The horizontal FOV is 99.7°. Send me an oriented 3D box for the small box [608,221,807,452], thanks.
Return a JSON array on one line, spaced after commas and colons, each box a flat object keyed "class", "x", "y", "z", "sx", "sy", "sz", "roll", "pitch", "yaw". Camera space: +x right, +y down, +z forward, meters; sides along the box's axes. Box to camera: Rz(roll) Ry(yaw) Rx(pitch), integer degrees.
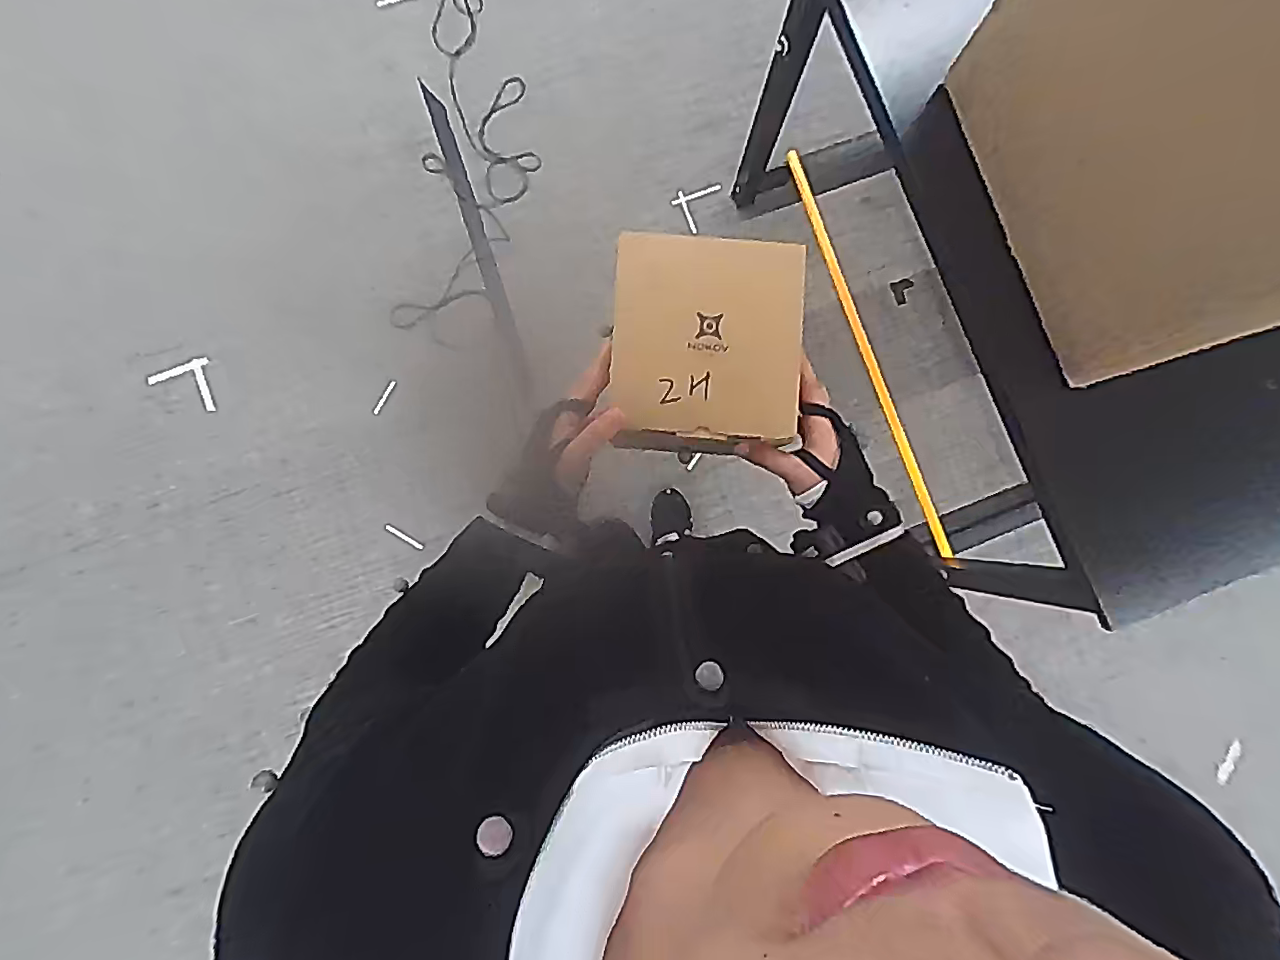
[{"class": "small box", "x": 0.057, "y": -0.128, "z": 0.543, "sx": 0.168, "sy": 0.176, "sz": 0.179, "roll": 4, "pitch": 88, "yaw": -1}]
